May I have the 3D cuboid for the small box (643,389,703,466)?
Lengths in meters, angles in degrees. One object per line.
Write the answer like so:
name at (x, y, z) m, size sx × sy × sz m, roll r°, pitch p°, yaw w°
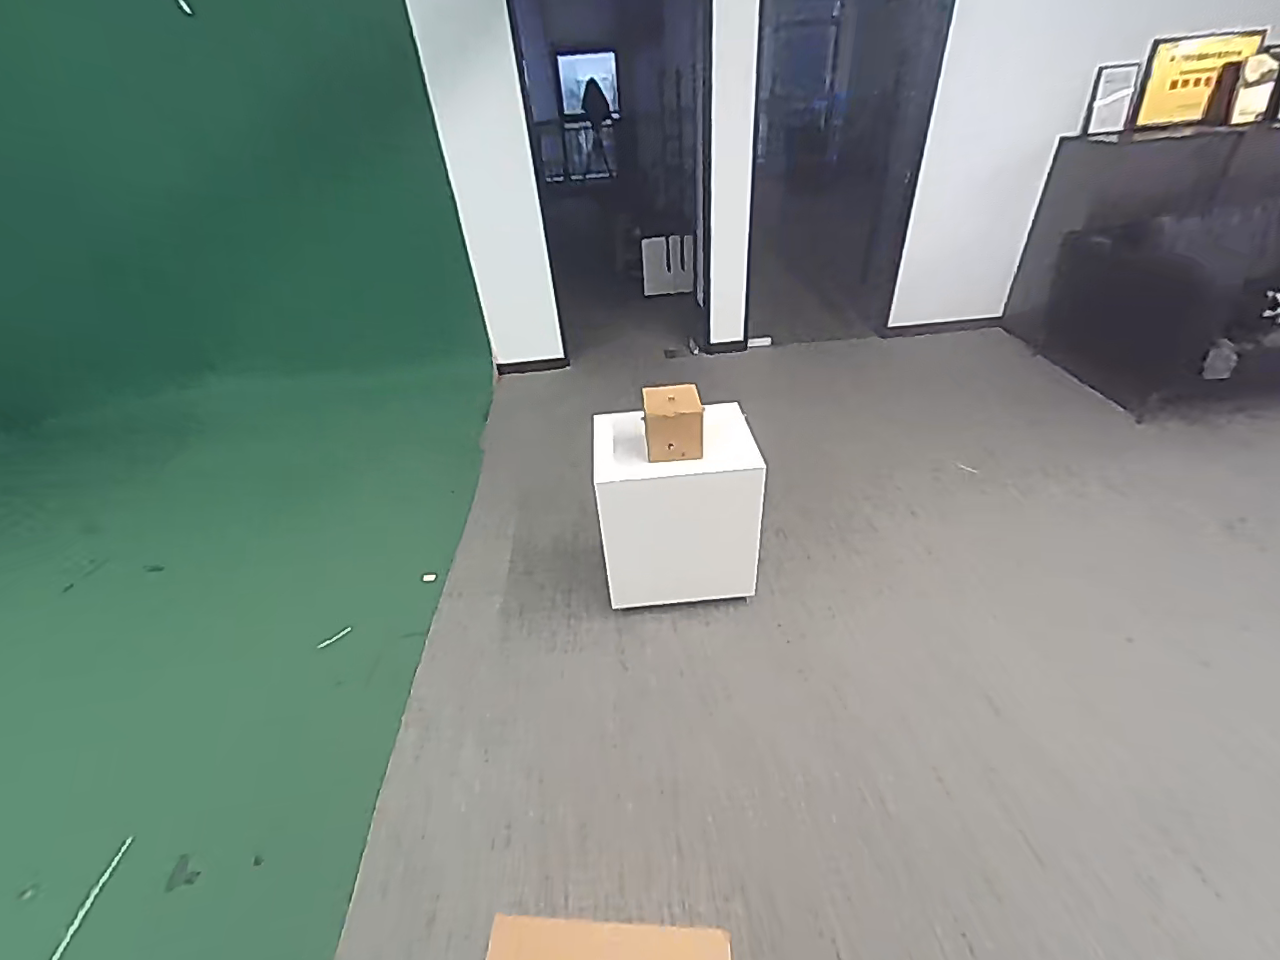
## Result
small box at (0.098, -0.161, 1.642) m, size 0.168 × 0.176 × 0.179 m, roll -5°, pitch 35°, yaw 0°
